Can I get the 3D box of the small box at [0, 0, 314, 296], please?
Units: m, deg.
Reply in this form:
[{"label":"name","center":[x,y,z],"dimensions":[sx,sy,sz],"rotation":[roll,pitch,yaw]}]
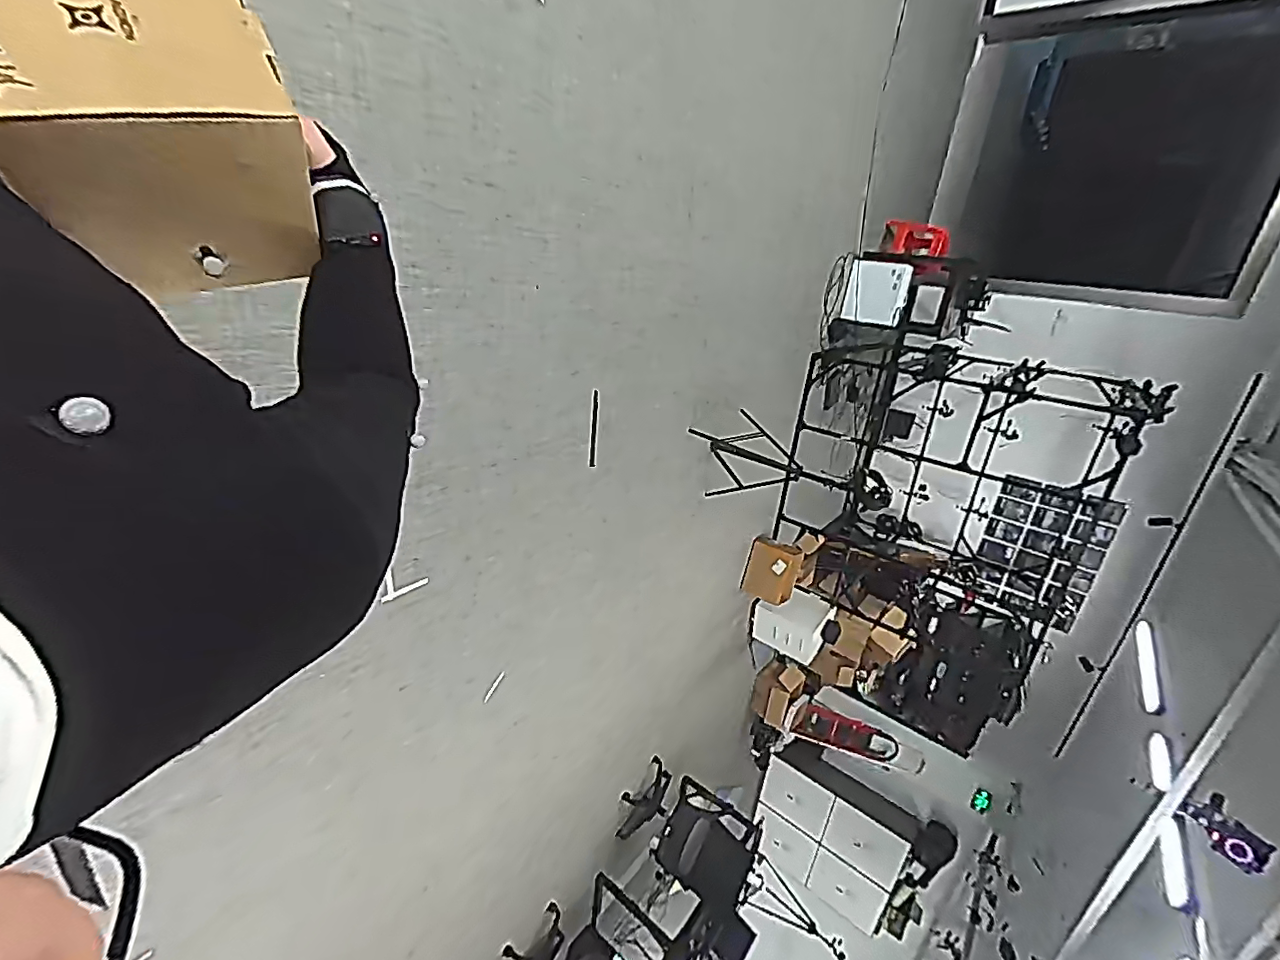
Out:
[{"label":"small box","center":[-0.389,-0.278,0.441],"dimensions":[0.179,0.168,0.176],"rotation":[-24,170,-30]}]
